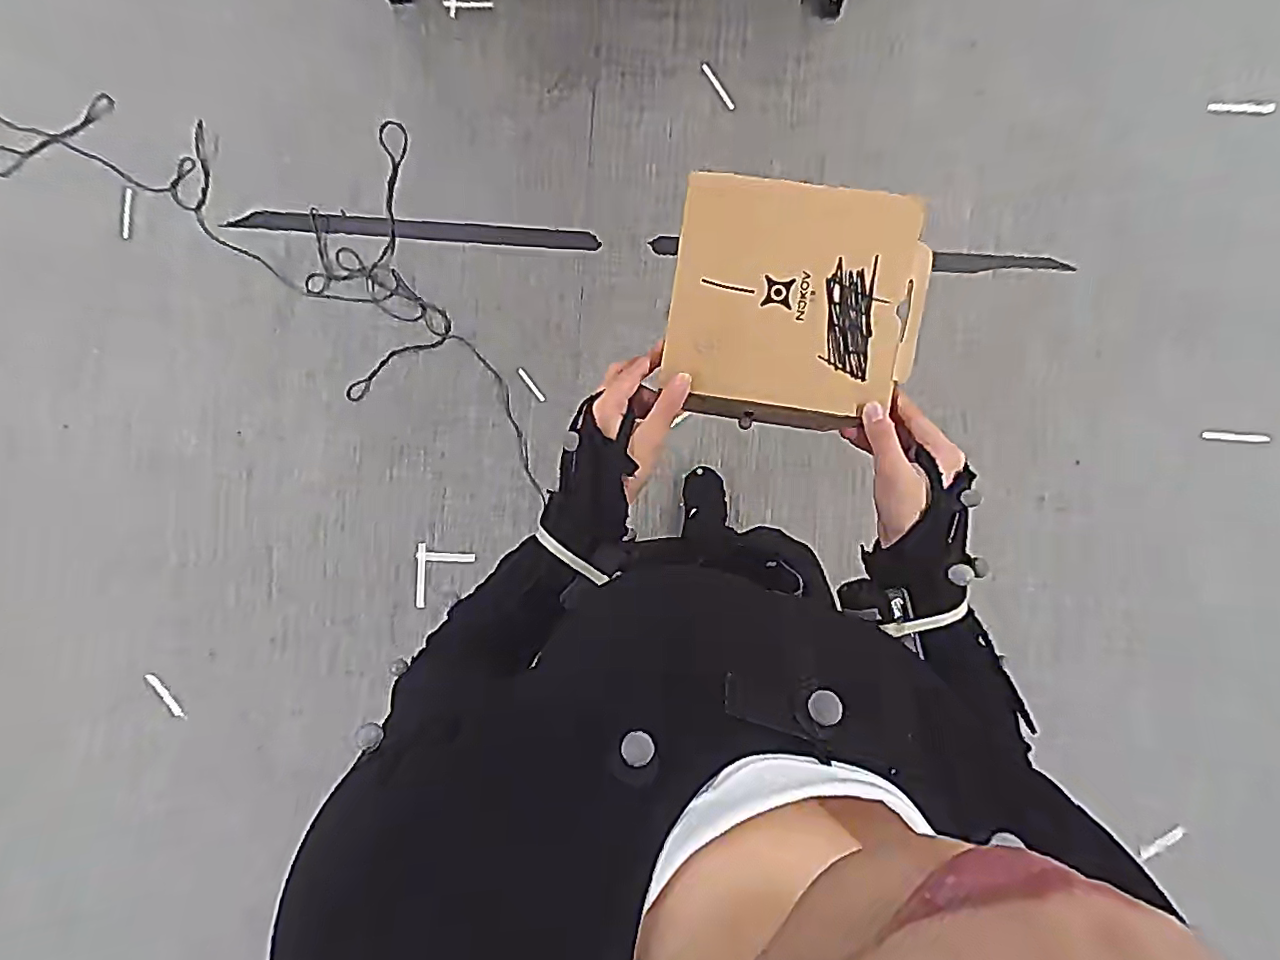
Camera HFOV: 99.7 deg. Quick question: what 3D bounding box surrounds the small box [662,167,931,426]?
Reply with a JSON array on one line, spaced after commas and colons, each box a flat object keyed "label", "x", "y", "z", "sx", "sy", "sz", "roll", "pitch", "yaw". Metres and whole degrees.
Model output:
[{"label": "small box", "x": 0.117, "y": -0.141, "z": 0.477, "sx": 0.179, "sy": 0.176, "sz": 0.168, "roll": 9, "pitch": 93, "yaw": 3}]
